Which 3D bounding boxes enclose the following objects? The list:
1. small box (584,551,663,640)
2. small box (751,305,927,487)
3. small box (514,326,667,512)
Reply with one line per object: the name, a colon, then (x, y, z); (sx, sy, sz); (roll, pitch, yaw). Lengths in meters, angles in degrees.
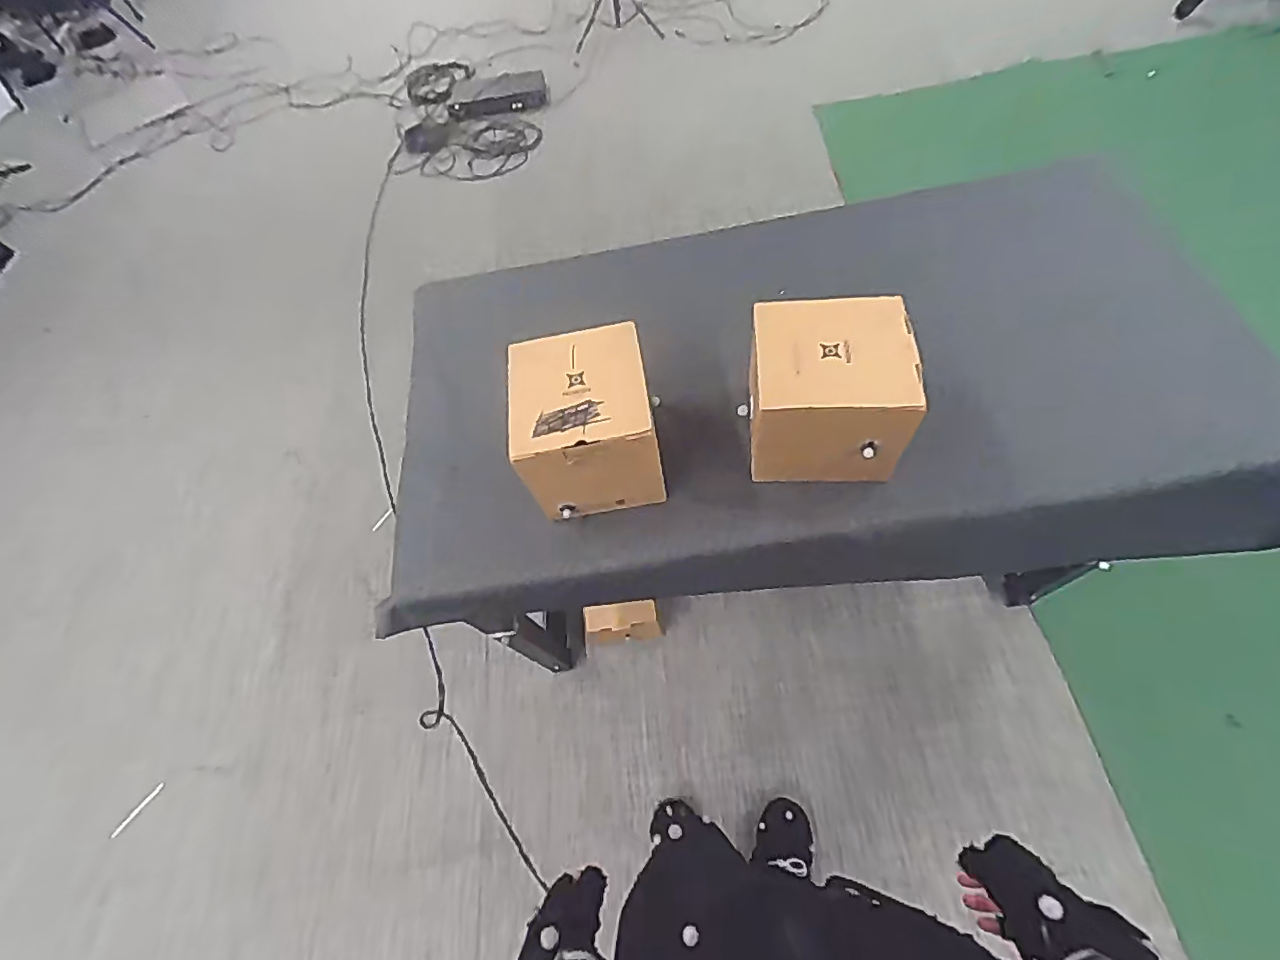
small box: (-0.038, 0.296, 1.352); (0.168, 0.176, 0.179); (-9, 62, 3)
small box: (0.237, -0.100, 0.693); (0.179, 0.176, 0.168); (0, 61, 9)
small box: (-0.060, -0.069, 0.715); (0.168, 0.176, 0.179); (-9, 59, 3)
